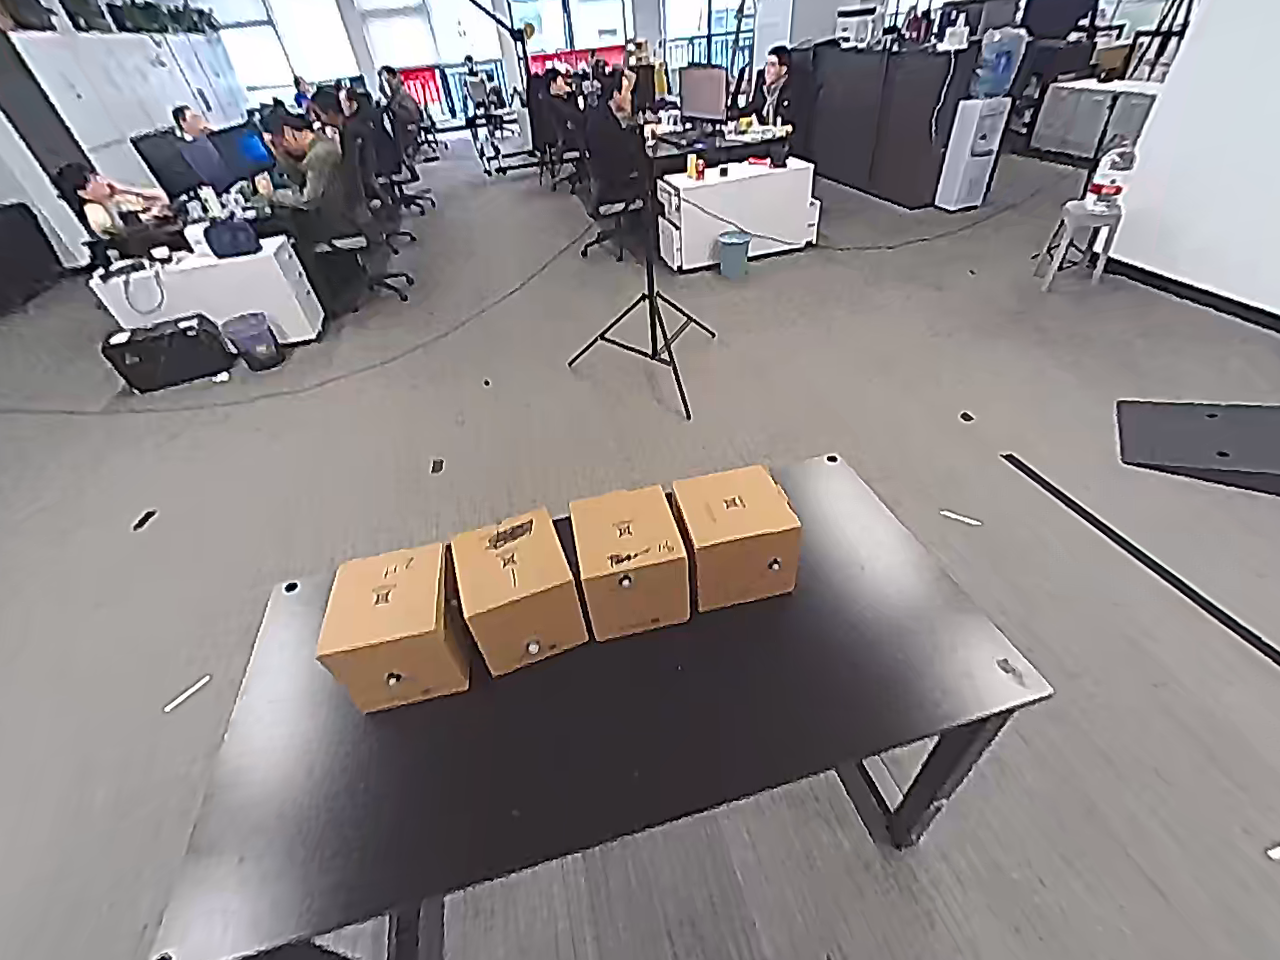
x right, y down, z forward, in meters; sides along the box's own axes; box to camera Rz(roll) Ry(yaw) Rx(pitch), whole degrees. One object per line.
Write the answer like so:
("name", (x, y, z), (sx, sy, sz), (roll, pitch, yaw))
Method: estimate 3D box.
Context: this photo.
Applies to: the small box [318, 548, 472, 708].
("small box", (-0.375, 0.240, 0.865), (0.168, 0.176, 0.179), (-11, 40, -6))
